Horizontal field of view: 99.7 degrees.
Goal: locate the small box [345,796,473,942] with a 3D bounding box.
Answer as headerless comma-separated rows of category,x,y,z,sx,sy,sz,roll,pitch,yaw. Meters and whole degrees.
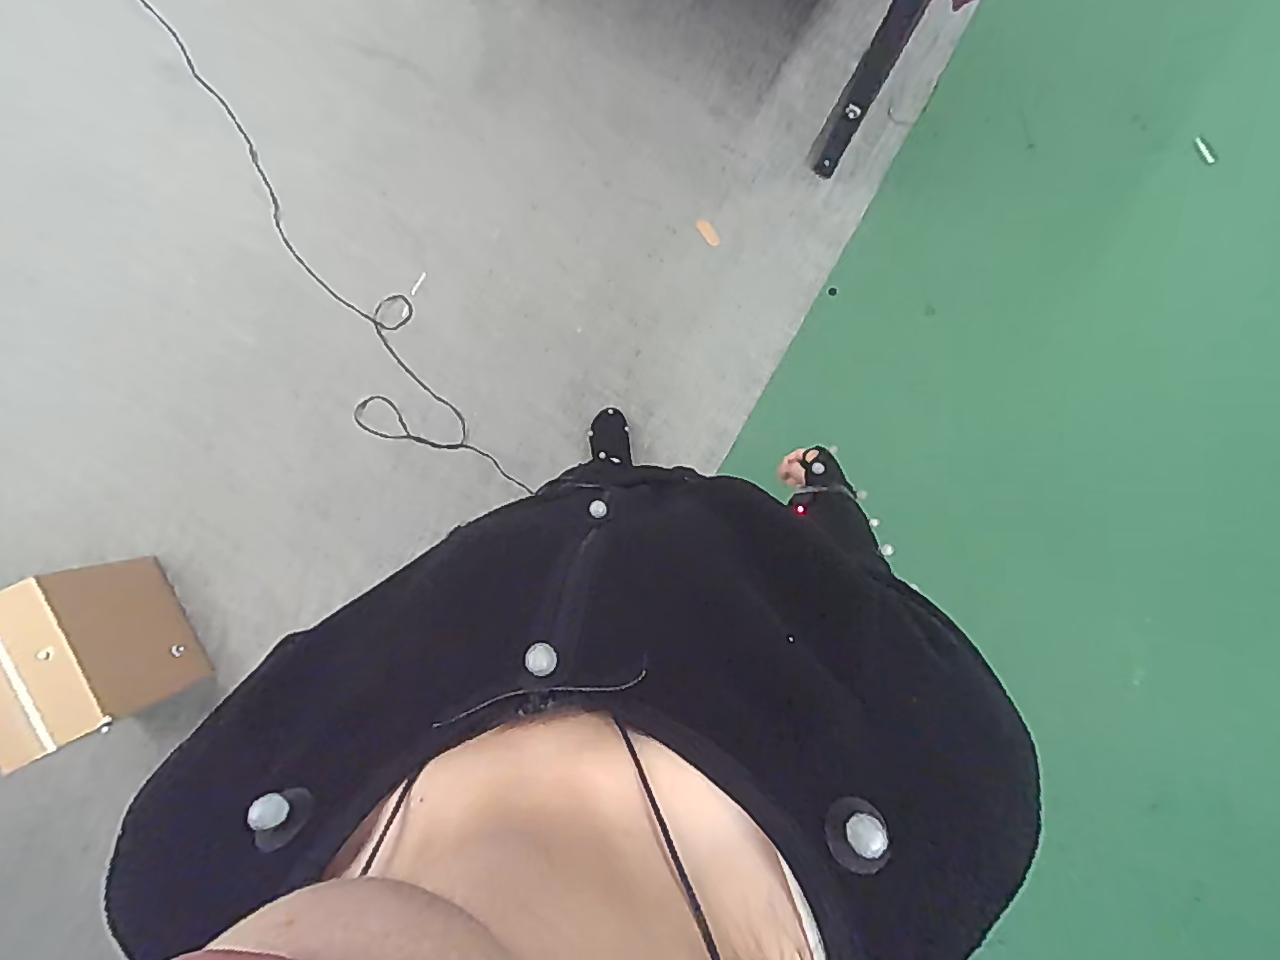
small box,-0.486,0.823,1.165,0.179,0.176,0.168,19,91,3
